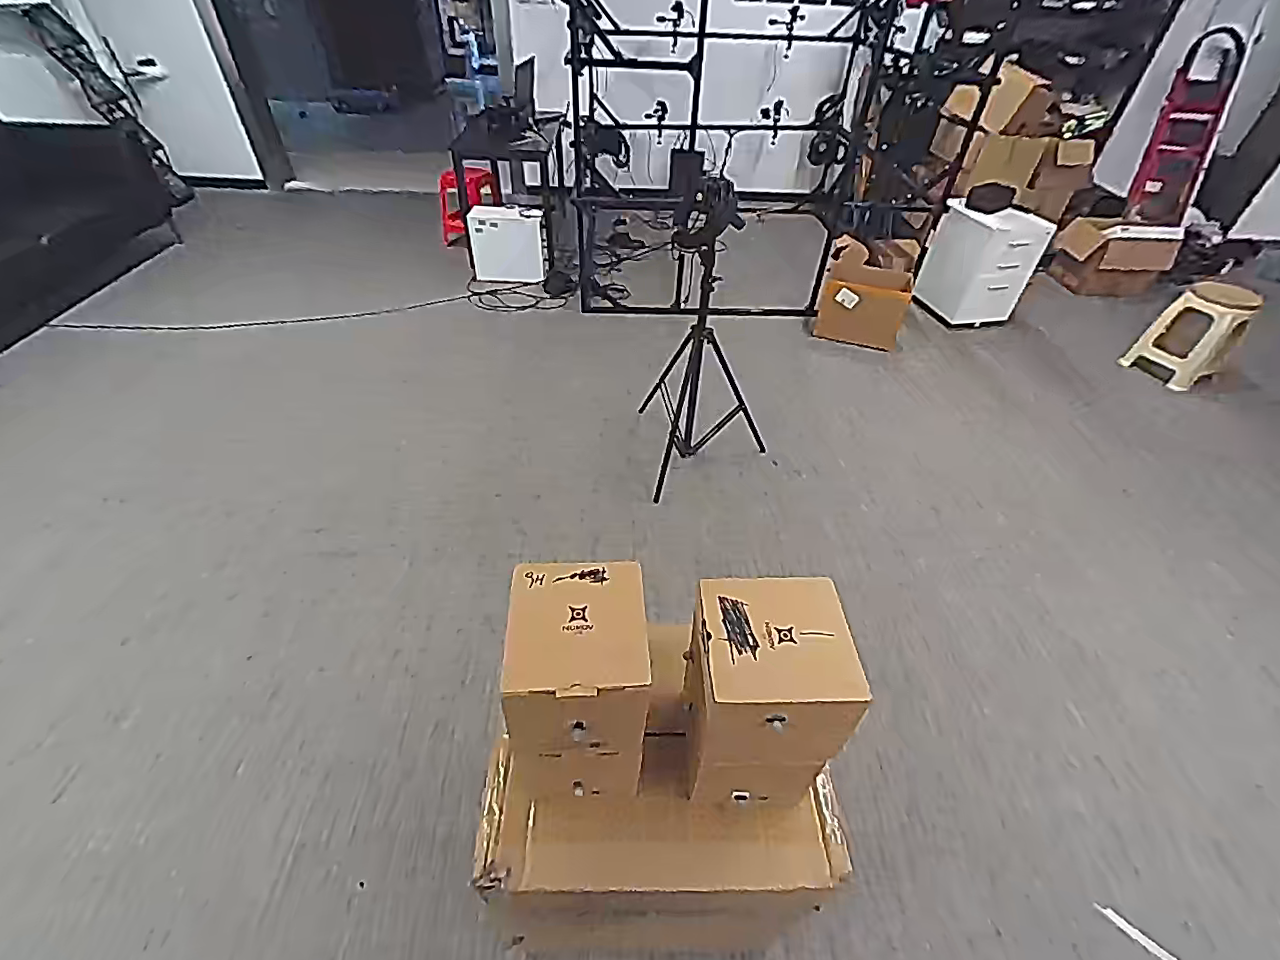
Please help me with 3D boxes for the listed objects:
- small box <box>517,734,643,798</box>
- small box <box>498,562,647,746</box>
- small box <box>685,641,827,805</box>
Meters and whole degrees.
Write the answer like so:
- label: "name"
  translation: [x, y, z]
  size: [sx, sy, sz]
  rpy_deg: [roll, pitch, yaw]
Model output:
- label: "small box"
  translation: [-0.085, 0.351, 0.810]
  size: [0.168, 0.176, 0.179]
  rpy_deg: [0, 43, -4]
- label: "small box"
  translation: [-0.079, 0.228, 0.700]
  size: [0.168, 0.176, 0.179]
  rpy_deg: [-1, 43, -5]
- label: "small box"
  translation: [0.158, 0.363, 0.811]
  size: [0.168, 0.176, 0.179]
  rpy_deg: [-2, 44, -1]
